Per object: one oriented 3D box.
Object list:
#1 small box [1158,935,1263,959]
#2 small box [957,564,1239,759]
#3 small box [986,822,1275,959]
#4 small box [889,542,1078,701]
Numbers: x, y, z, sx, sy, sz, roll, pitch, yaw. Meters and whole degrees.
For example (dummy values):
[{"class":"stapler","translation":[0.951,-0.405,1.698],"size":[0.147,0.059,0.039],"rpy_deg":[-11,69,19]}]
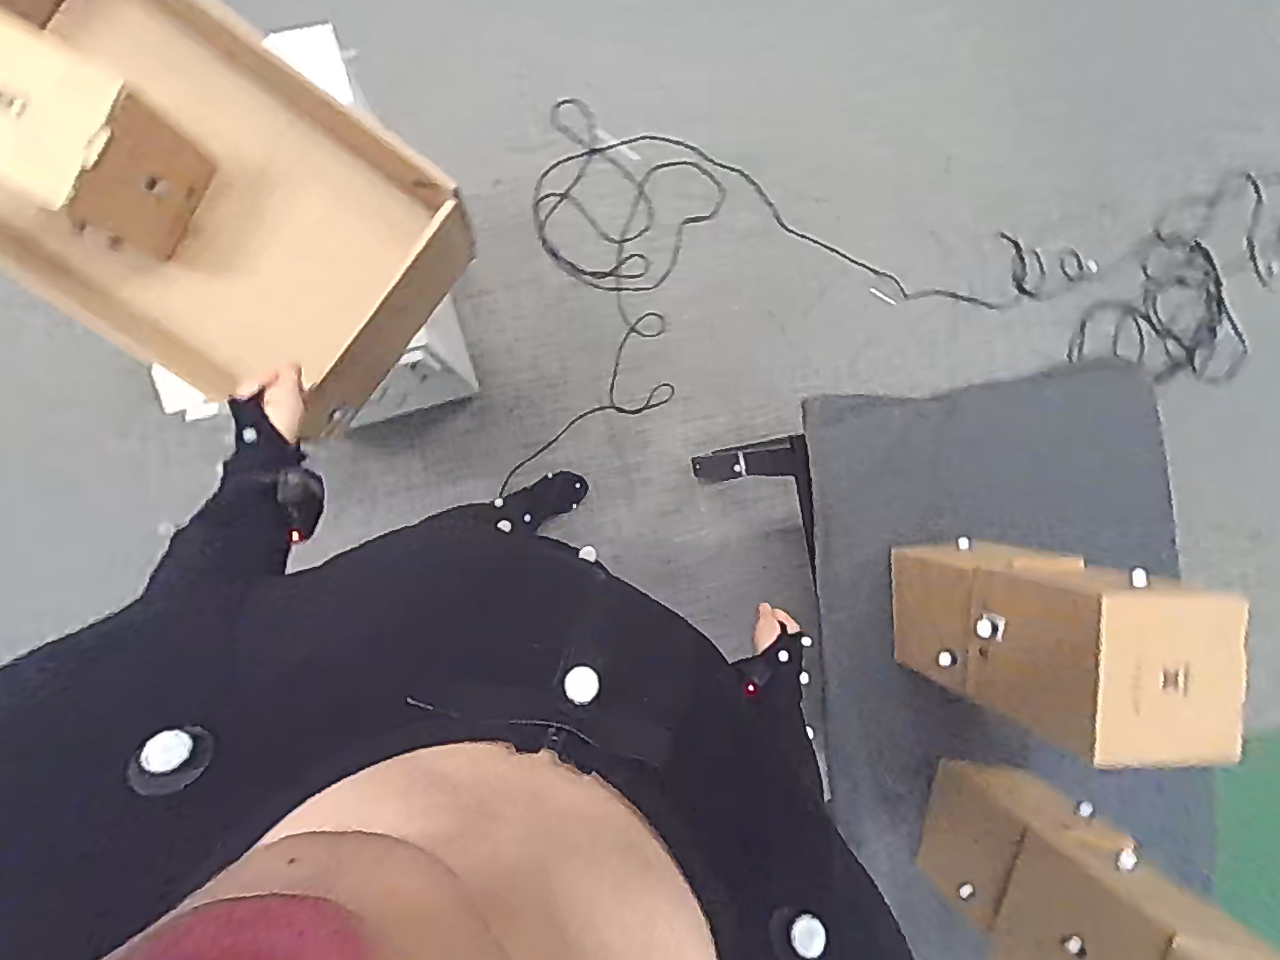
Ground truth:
[{"class":"small box","translation":[0.568,0.544,0.459],"size":[0.168,0.176,0.179],"rpy_deg":[19,89,-10]},{"class":"small box","translation":[0.499,0.190,0.610],"size":[0.179,0.176,0.168],"rpy_deg":[3,89,-8]},{"class":"small box","translation":[0.543,0.544,0.619],"size":[0.168,0.176,0.179],"rpy_deg":[21,87,-9]},{"class":"small box","translation":[0.477,0.189,0.771],"size":[0.168,0.176,0.179],"rpy_deg":[-2,91,-10]}]
